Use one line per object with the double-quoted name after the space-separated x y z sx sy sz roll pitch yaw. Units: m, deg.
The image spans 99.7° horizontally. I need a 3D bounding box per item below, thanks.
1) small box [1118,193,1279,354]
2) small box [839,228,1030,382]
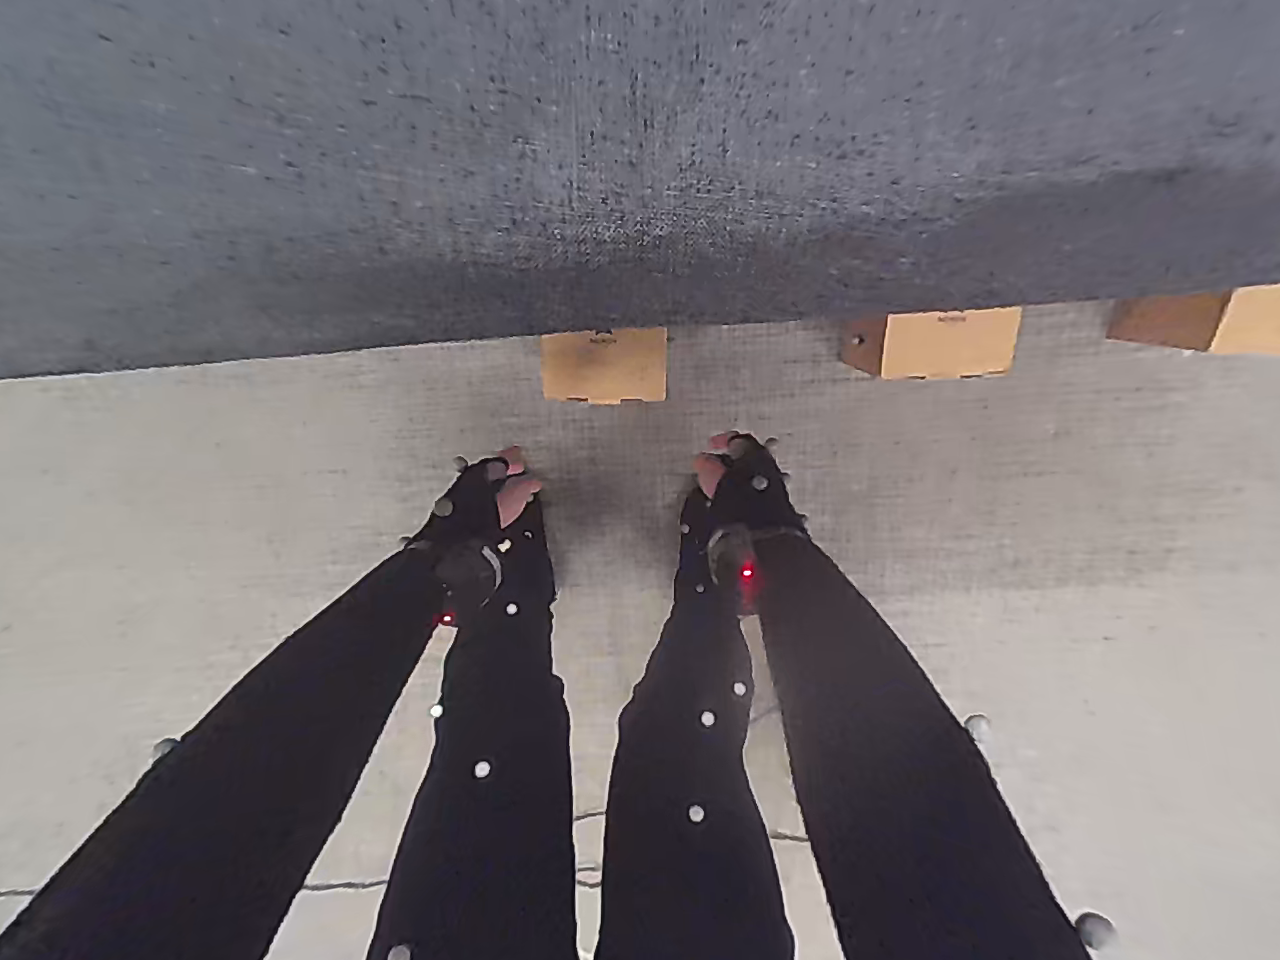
0.782 -0.260 0.700 0.168 0.176 0.179 1 110 3 "small box"
0.381 -0.234 0.736 0.168 0.176 0.179 -2 107 2 "small box"
